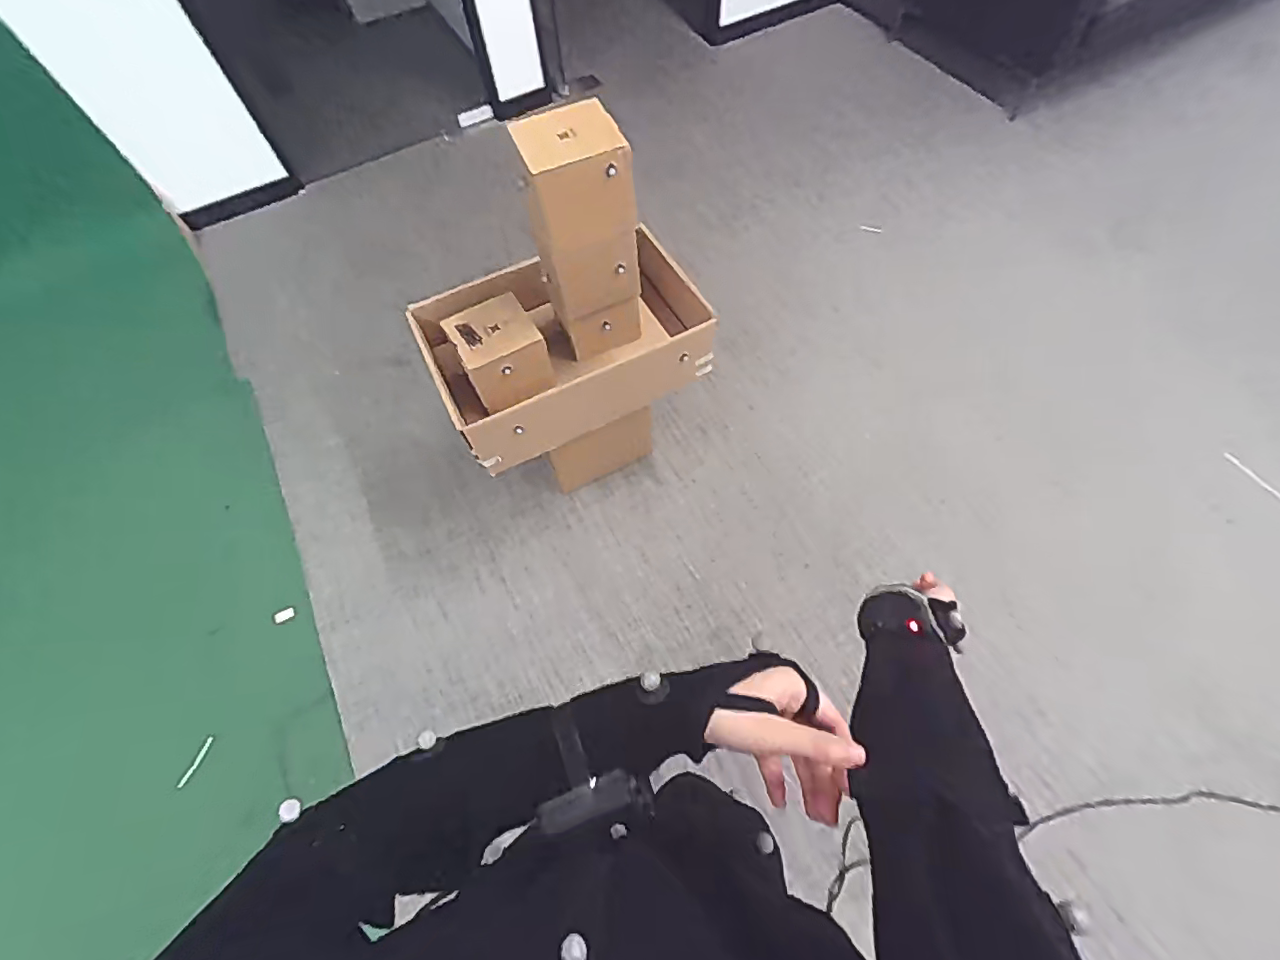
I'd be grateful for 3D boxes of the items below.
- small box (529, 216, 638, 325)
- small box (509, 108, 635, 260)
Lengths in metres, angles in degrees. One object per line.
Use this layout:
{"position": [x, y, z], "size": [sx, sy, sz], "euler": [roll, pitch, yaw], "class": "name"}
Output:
{"position": [-0.112, -0.464, 1.146], "size": [0.179, 0.176, 0.168], "euler": [-23, 63, -7], "class": "small box"}
{"position": [-0.120, -0.541, 1.004], "size": [0.179, 0.176, 0.168], "euler": [-22, 62, -7], "class": "small box"}
